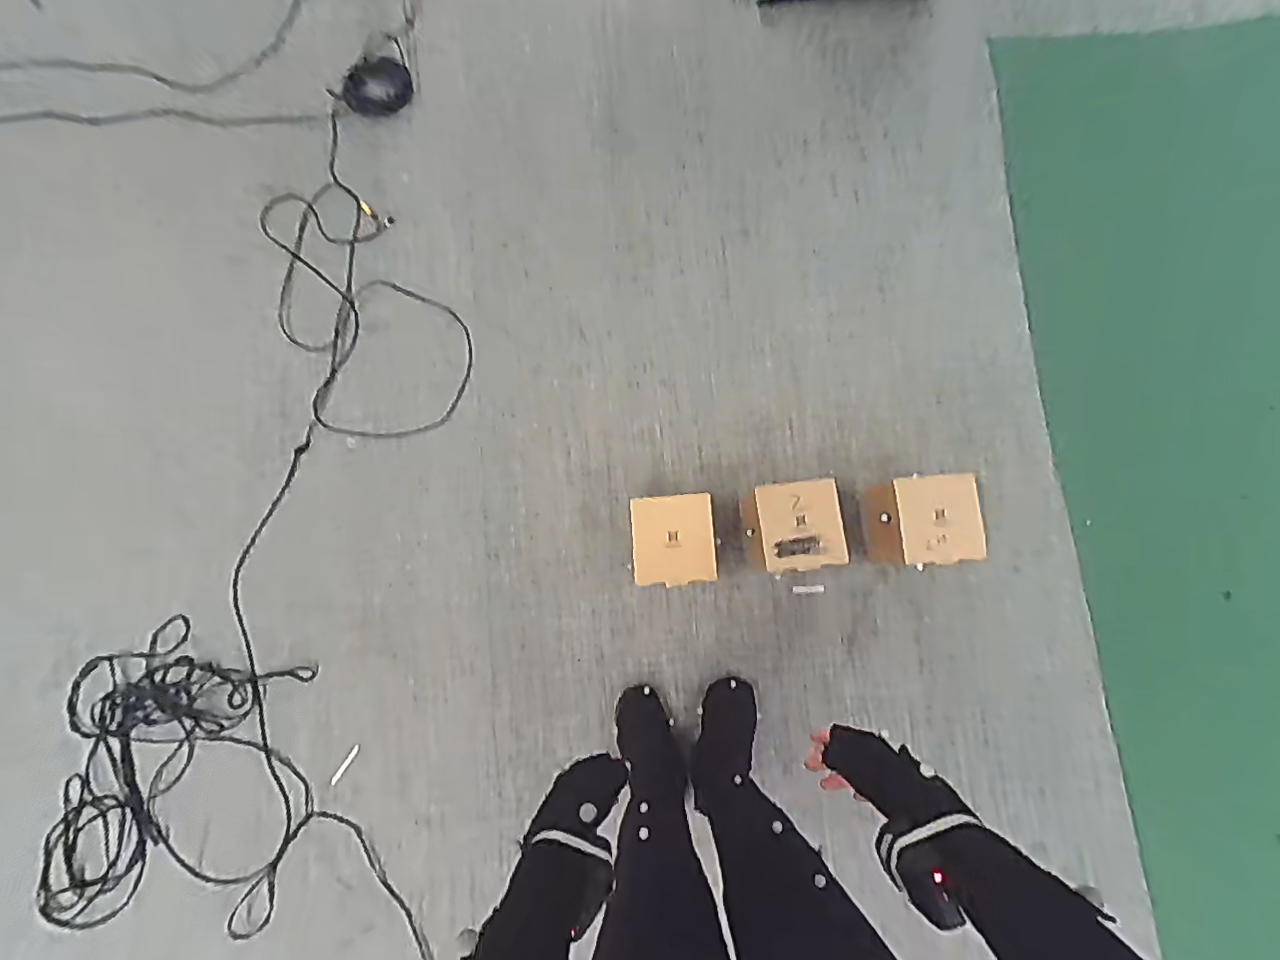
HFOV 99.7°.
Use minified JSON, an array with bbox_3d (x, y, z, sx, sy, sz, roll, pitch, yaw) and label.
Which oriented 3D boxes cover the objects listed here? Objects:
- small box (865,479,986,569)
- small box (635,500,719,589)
[{"bbox_3d":[0.604,0.101,1.170,0.168,0.176,0.179,-4,81,1],"label":"small box"},{"bbox_3d":[0.076,0.144,1.178,0.168,0.176,0.179,-4,81,2],"label":"small box"}]
